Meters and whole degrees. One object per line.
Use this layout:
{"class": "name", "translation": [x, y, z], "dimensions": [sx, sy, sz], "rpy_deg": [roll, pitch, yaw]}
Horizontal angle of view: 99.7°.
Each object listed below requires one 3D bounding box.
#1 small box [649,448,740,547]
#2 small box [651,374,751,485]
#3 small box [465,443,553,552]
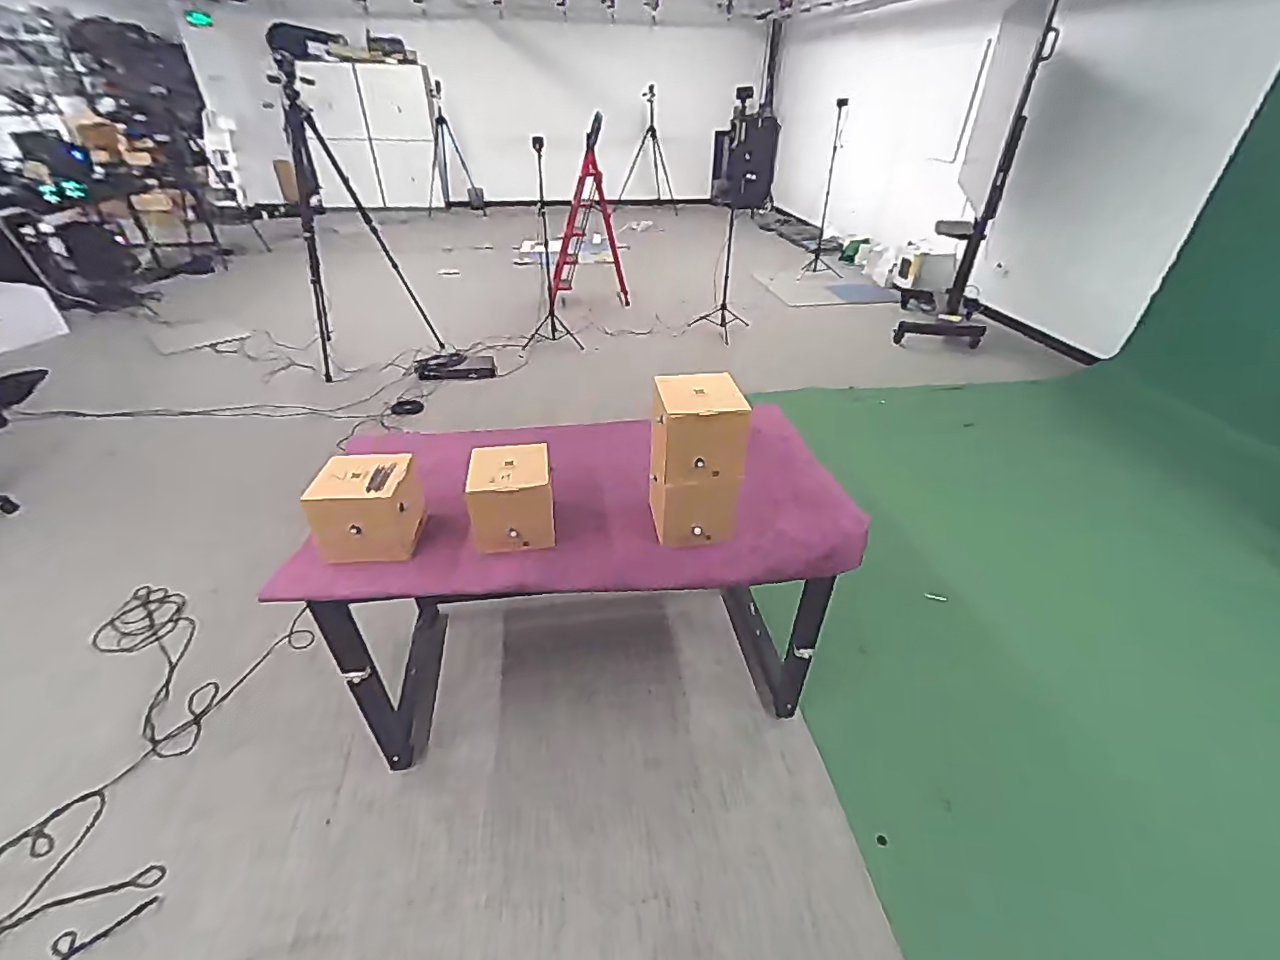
{"class": "small box", "translation": [0.114, 0.029, 1.216], "dimensions": [0.168, 0.176, 0.179], "rpy_deg": [-4, 36, -7]}
{"class": "small box", "translation": [0.117, -0.107, 1.127], "dimensions": [0.168, 0.176, 0.179], "rpy_deg": [-4, 36, -7]}
{"class": "small box", "translation": [-0.281, 0.036, 1.189], "dimensions": [0.168, 0.176, 0.179], "rpy_deg": [-5, 35, -8]}
